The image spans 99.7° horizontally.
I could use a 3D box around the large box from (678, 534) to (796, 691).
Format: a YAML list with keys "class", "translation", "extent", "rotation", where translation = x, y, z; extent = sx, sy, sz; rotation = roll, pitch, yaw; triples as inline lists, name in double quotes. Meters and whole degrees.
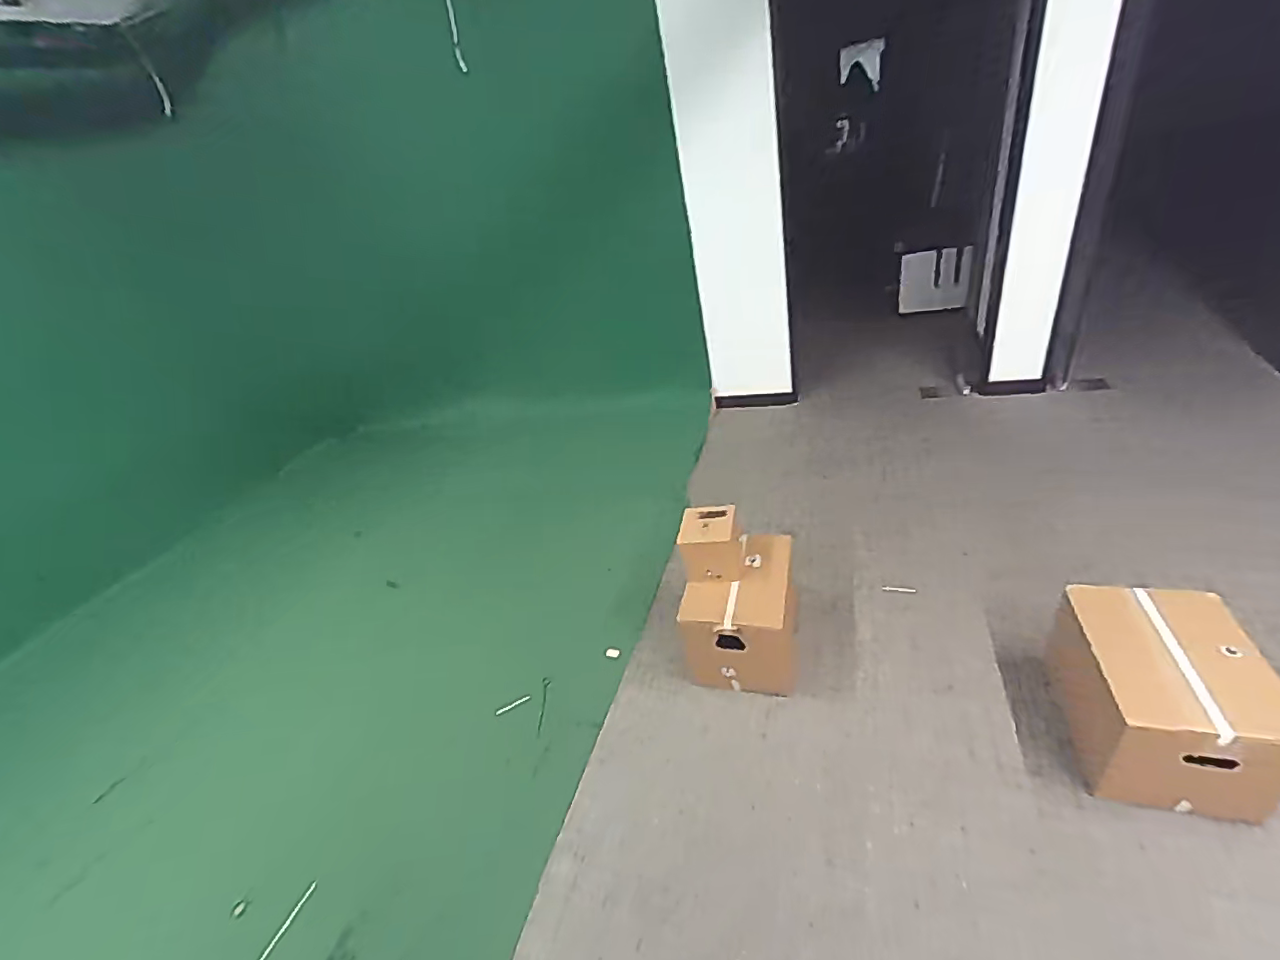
- class: "large box"
  translation: [0.341, 0.428, 1.789]
  extent: [0.320, 0.320, 0.408]
  rotation: [-1, 34, 21]
